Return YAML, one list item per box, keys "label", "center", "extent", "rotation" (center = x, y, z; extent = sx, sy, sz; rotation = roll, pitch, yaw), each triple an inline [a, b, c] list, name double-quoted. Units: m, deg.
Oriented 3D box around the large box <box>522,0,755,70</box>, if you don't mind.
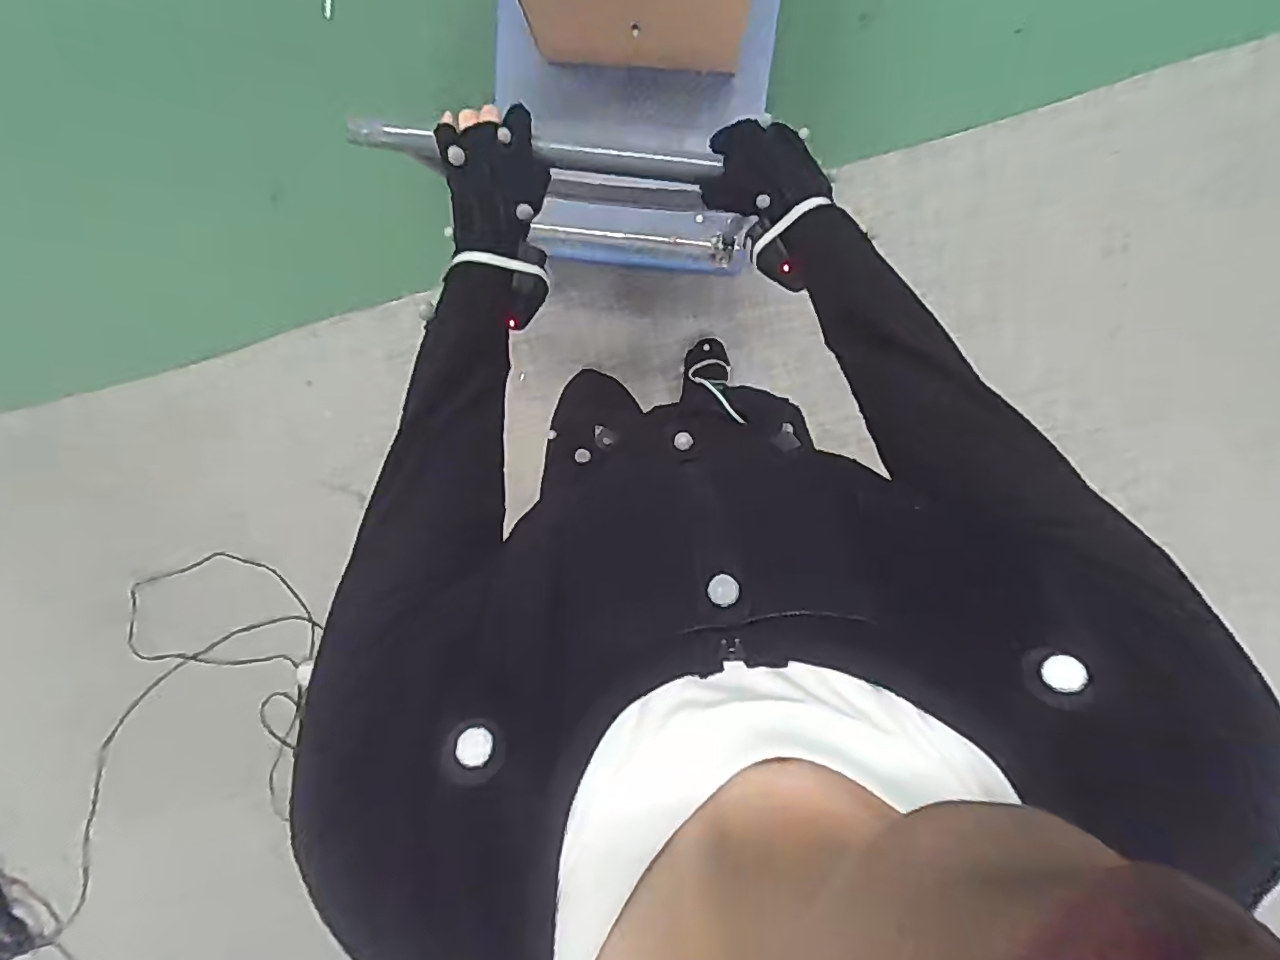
- label: "large box"
  center: [0.005, -0.975, 0.952]
  extent: [0.408, 0.320, 0.320]
  rotation: [4, 101, 3]
